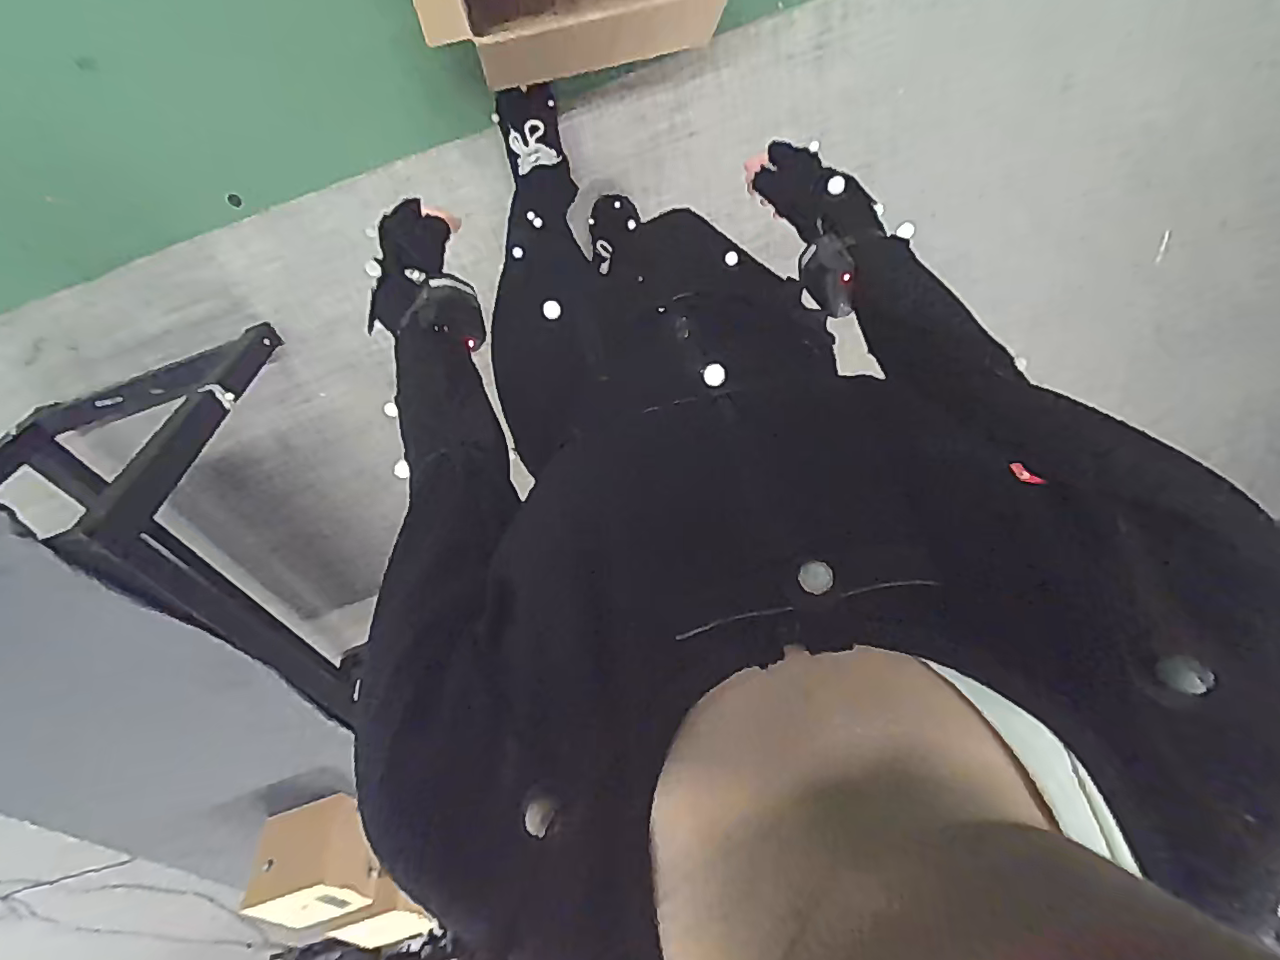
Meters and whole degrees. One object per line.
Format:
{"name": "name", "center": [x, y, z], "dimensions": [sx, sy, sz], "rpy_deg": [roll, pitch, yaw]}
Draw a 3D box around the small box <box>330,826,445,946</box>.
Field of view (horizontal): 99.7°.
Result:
{"name": "small box", "center": [-0.583, 0.957, 1.278], "dimensions": [0.179, 0.176, 0.168], "rpy_deg": [-21, 129, 3]}
